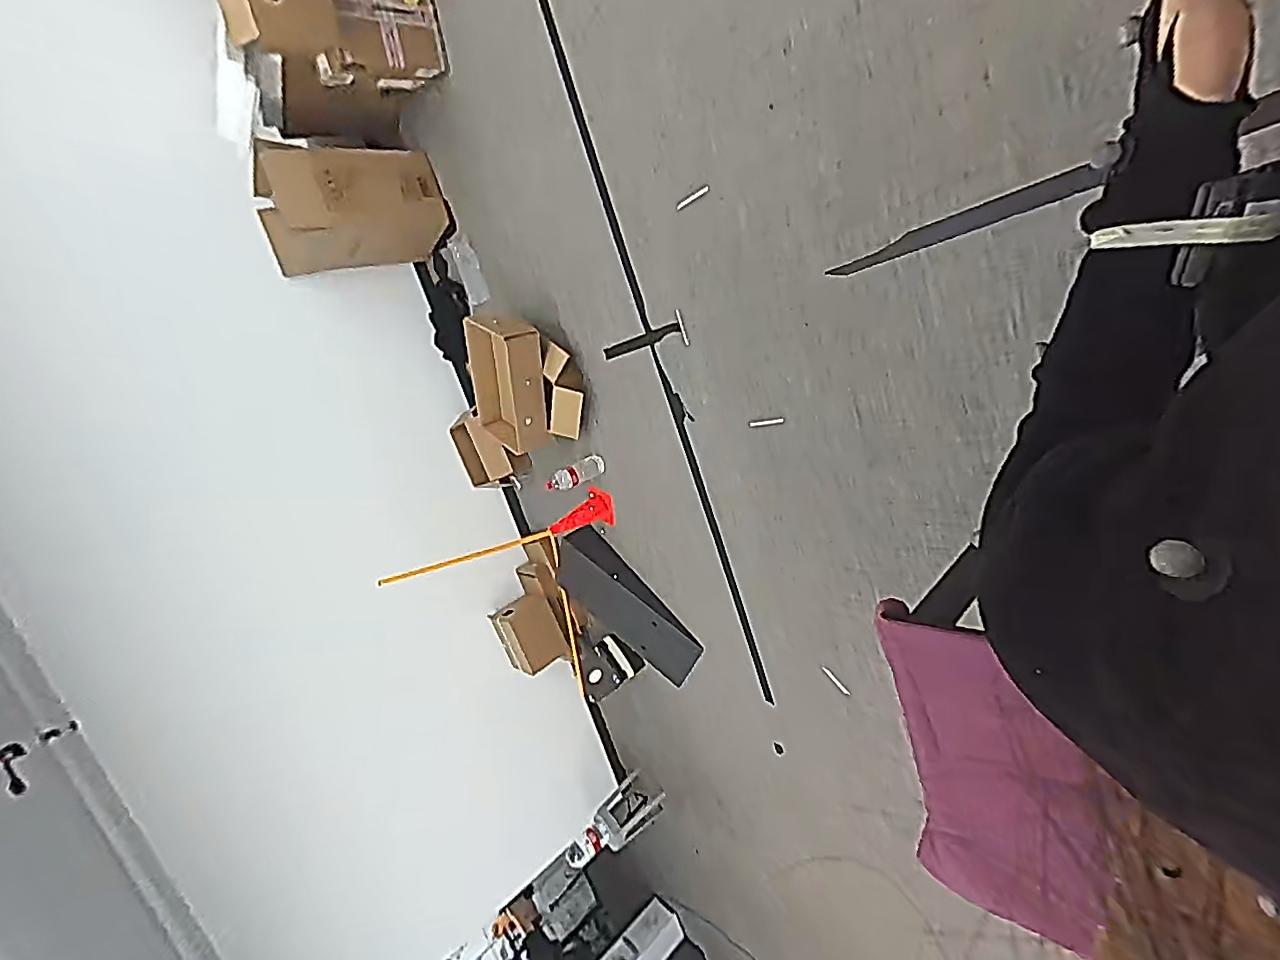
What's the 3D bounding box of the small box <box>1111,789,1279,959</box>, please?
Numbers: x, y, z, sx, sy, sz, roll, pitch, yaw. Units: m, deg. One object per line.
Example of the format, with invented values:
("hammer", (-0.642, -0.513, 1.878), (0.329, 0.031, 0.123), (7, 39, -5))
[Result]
("small box", (0.704, 0.511, 0.643), (0.179, 0.176, 0.168), (-5, 108, 53))
